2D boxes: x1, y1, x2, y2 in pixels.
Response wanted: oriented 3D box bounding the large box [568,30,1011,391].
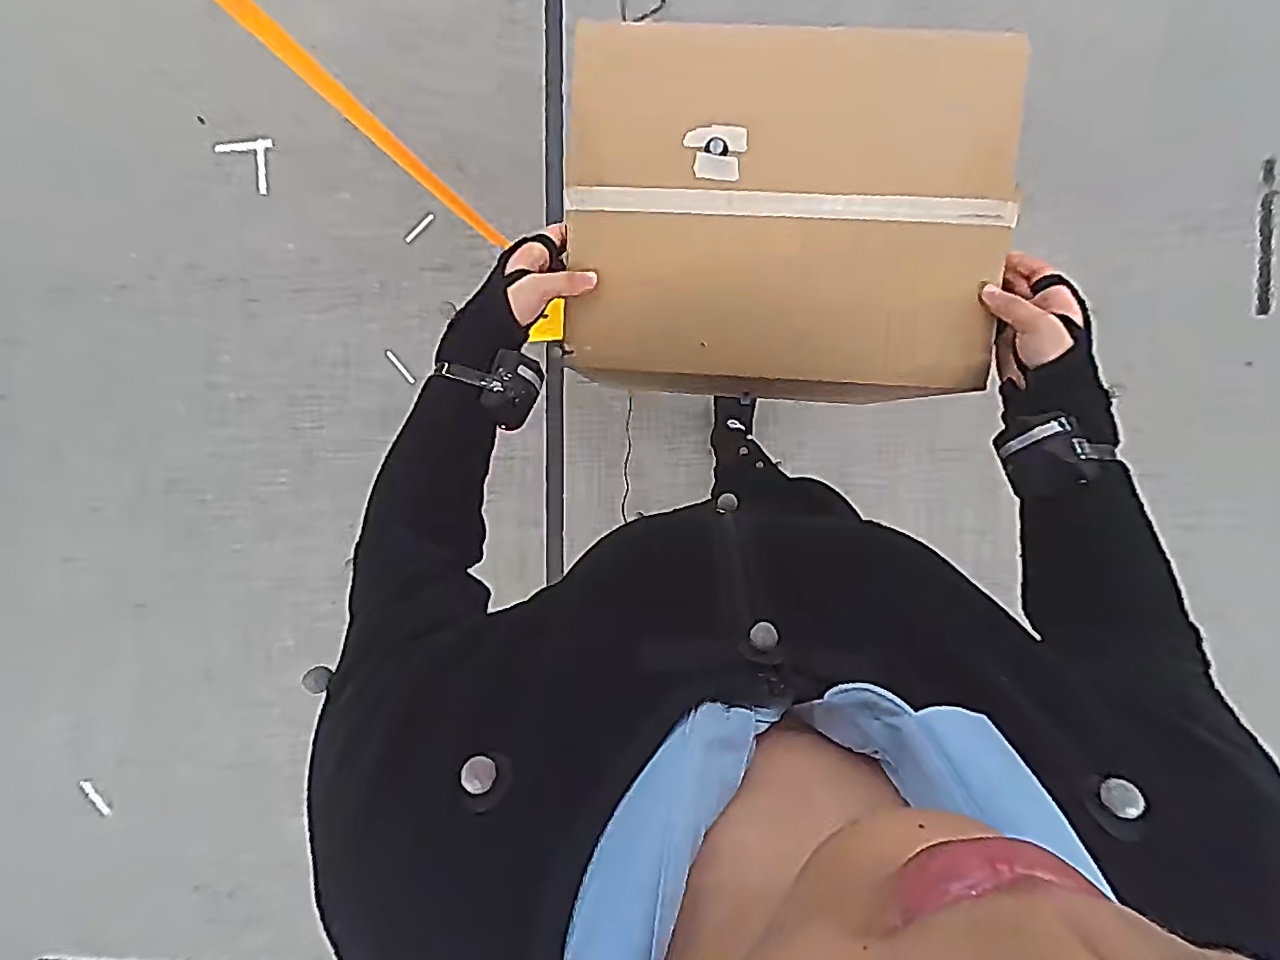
[{"bbox_3d":[0.144,-0.275,0.660,0.408,0.320,0.320,3,95,4],"label":"large box"}]
